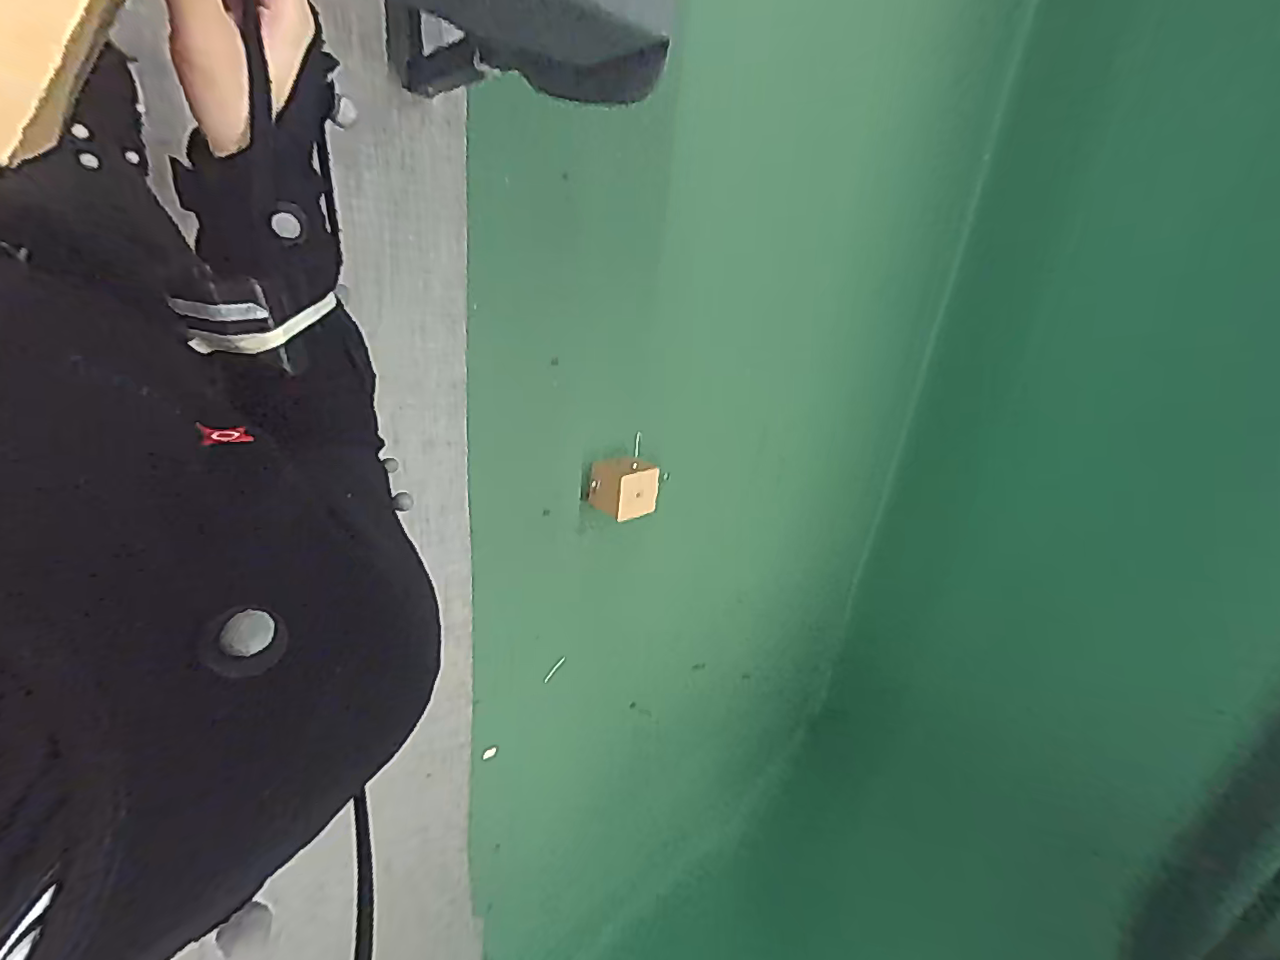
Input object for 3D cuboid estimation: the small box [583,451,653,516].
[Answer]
[{"bbox_3d":[-0.079,0.006,1.892,0.179,0.176,0.168,-14,119,-40],"label":"small box"}]
